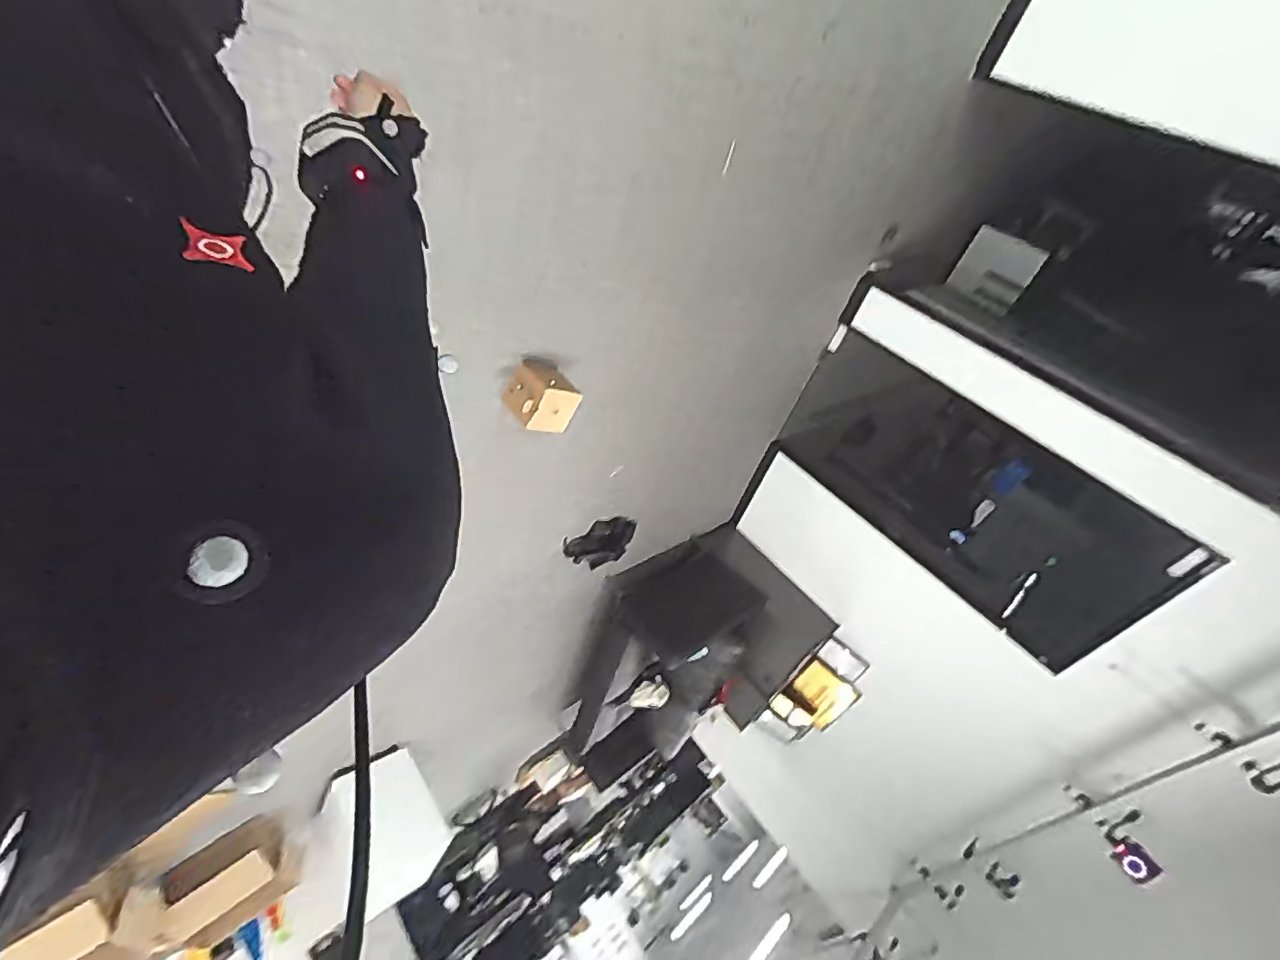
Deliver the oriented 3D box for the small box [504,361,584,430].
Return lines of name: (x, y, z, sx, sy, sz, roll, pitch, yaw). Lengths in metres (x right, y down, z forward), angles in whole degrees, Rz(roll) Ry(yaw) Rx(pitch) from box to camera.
small box: (-0.336, -0.294, 1.872, 0.179, 0.176, 0.168, 0, 130, -53)
